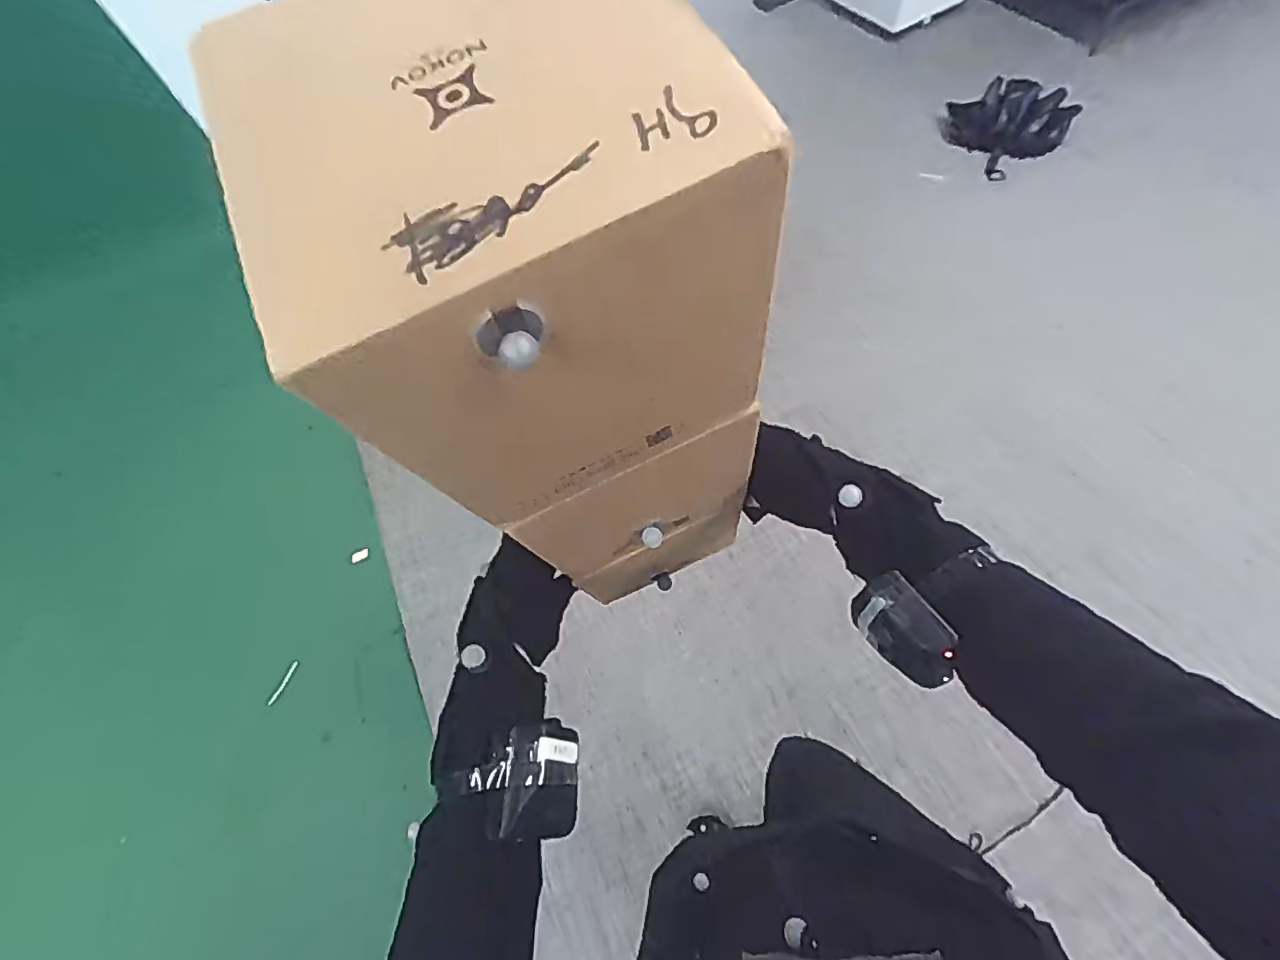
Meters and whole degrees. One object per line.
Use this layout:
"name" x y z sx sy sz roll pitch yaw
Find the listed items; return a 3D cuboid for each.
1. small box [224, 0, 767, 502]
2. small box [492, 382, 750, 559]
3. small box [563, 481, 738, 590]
"small box" -0.056 -0.115 0.271 0.168 0.176 0.179 -26 68 -1
"small box" -0.032 -0.059 0.423 0.168 0.176 0.179 -25 70 -1
"small box" -0.012 -0.002 0.576 0.168 0.176 0.179 -26 70 -2
